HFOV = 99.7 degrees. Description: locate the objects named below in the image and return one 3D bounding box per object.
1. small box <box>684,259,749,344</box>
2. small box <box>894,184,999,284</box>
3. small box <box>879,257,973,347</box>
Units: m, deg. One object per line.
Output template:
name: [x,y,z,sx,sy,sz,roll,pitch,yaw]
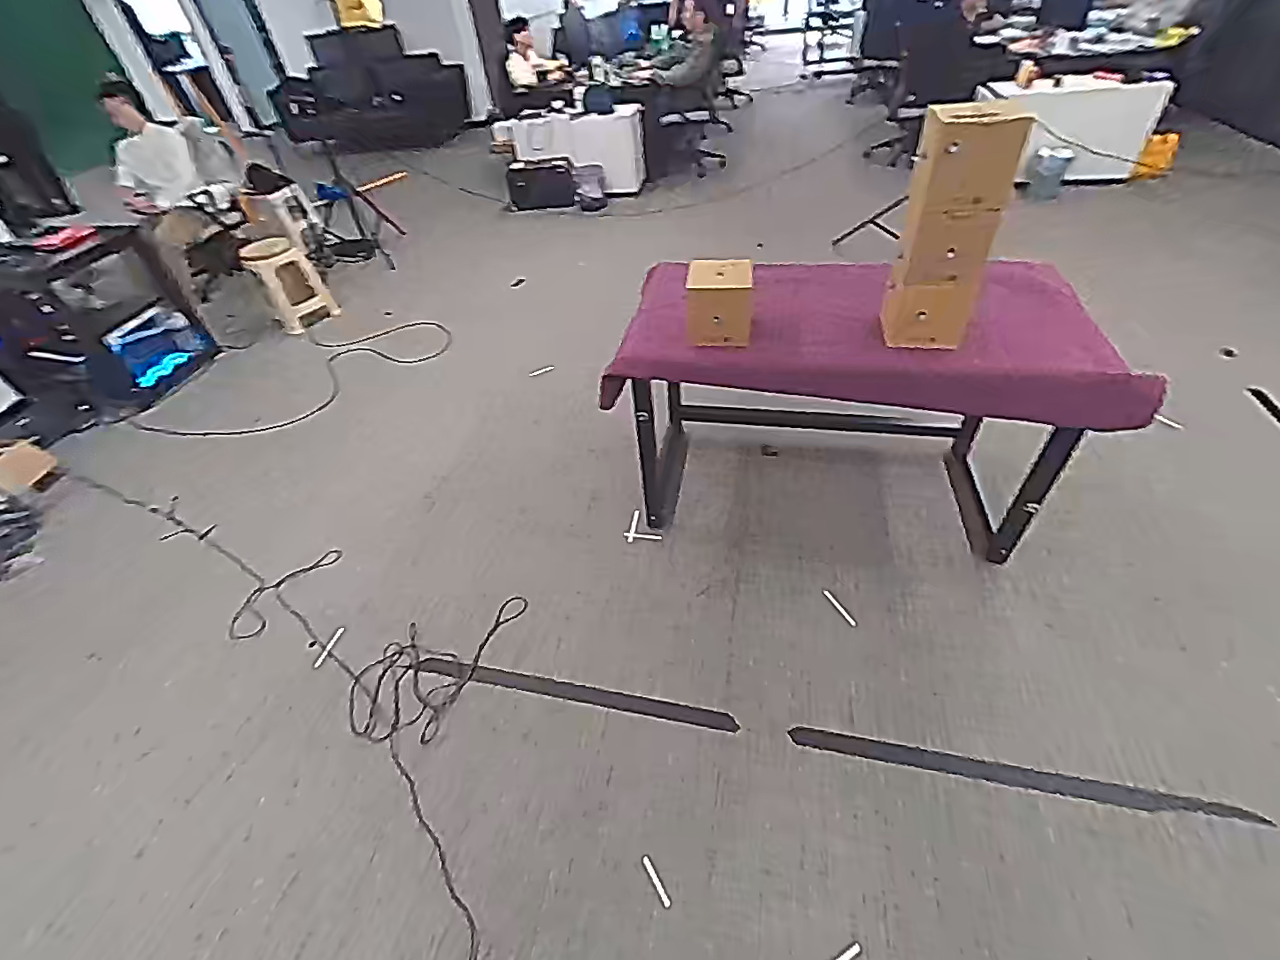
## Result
small box: [0.210,-0.482,1.468,0.168,0.176,0.179,3,44,9]
small box: [0.709,-0.575,1.272,0.168,0.176,0.179,5,45,13]
small box: [0.722,-0.454,1.383,0.168,0.176,0.179,5,45,12]
